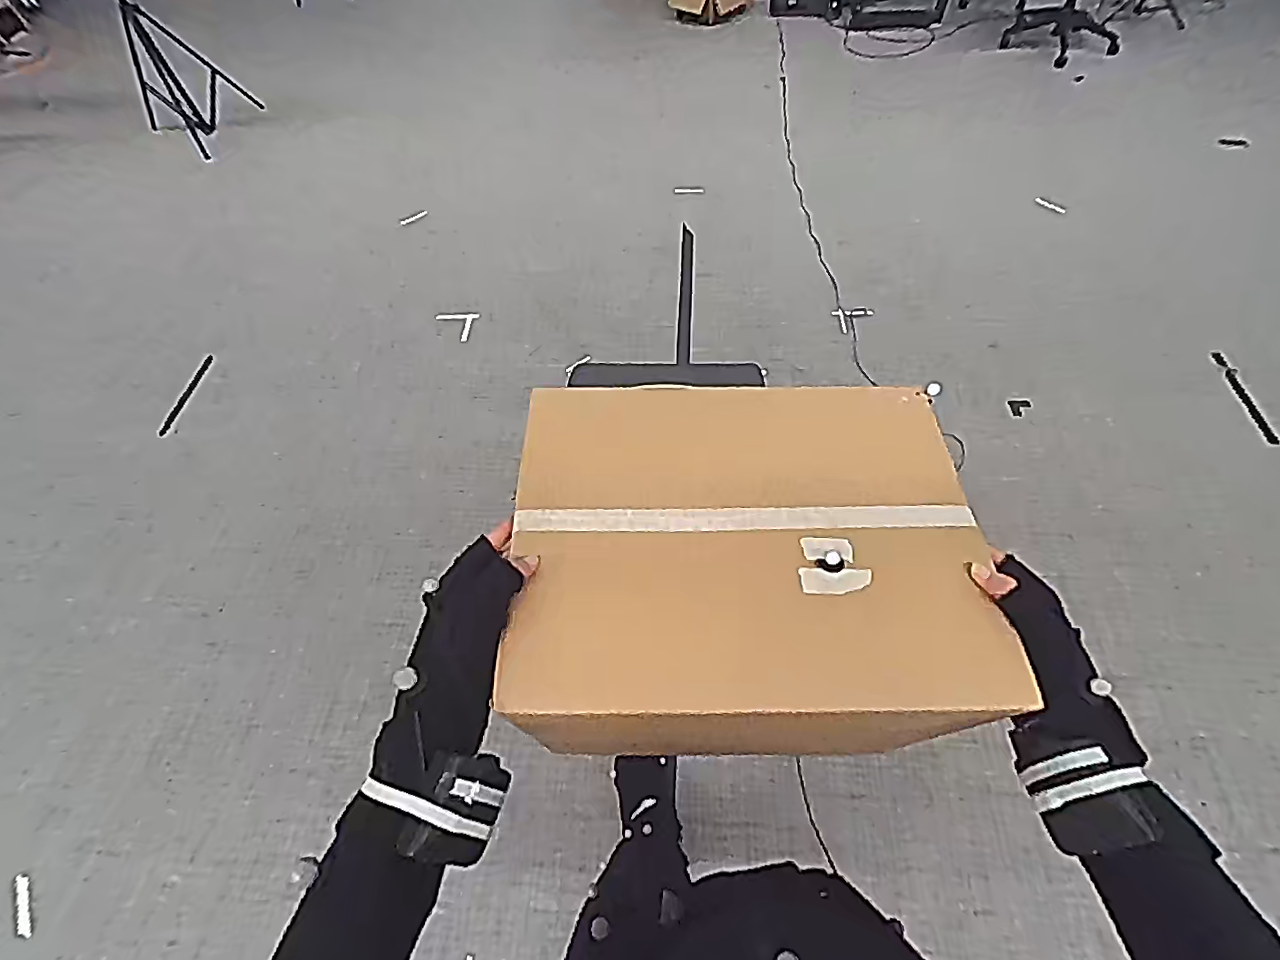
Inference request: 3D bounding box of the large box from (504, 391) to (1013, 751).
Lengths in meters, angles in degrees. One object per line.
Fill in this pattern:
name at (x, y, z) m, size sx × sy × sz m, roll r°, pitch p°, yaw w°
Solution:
large box at (0.088, 0.116, 0.619) m, size 0.408 × 0.320 × 0.320 m, roll 0°, pitch 58°, yaw 0°
